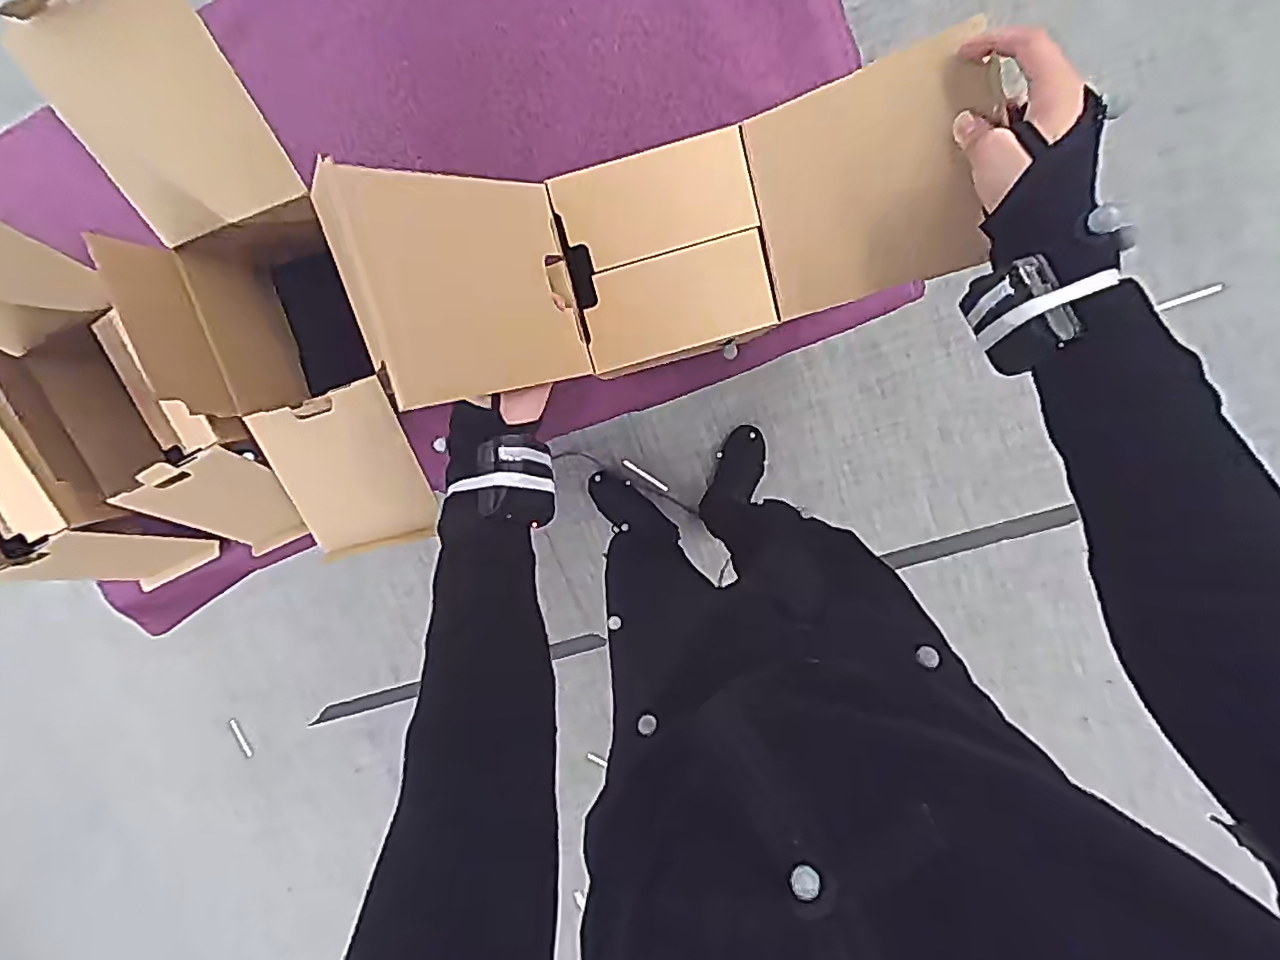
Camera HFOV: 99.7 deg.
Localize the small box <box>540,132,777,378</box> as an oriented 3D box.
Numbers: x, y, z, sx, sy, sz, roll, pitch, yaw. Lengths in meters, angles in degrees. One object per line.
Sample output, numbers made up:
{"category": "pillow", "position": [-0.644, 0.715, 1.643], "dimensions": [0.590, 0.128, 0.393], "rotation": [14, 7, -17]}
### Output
{"category": "small box", "position": [0.017, -0.203, 0.538], "dimensions": [0.179, 0.176, 0.168], "rotation": [-14, 98, 3]}
